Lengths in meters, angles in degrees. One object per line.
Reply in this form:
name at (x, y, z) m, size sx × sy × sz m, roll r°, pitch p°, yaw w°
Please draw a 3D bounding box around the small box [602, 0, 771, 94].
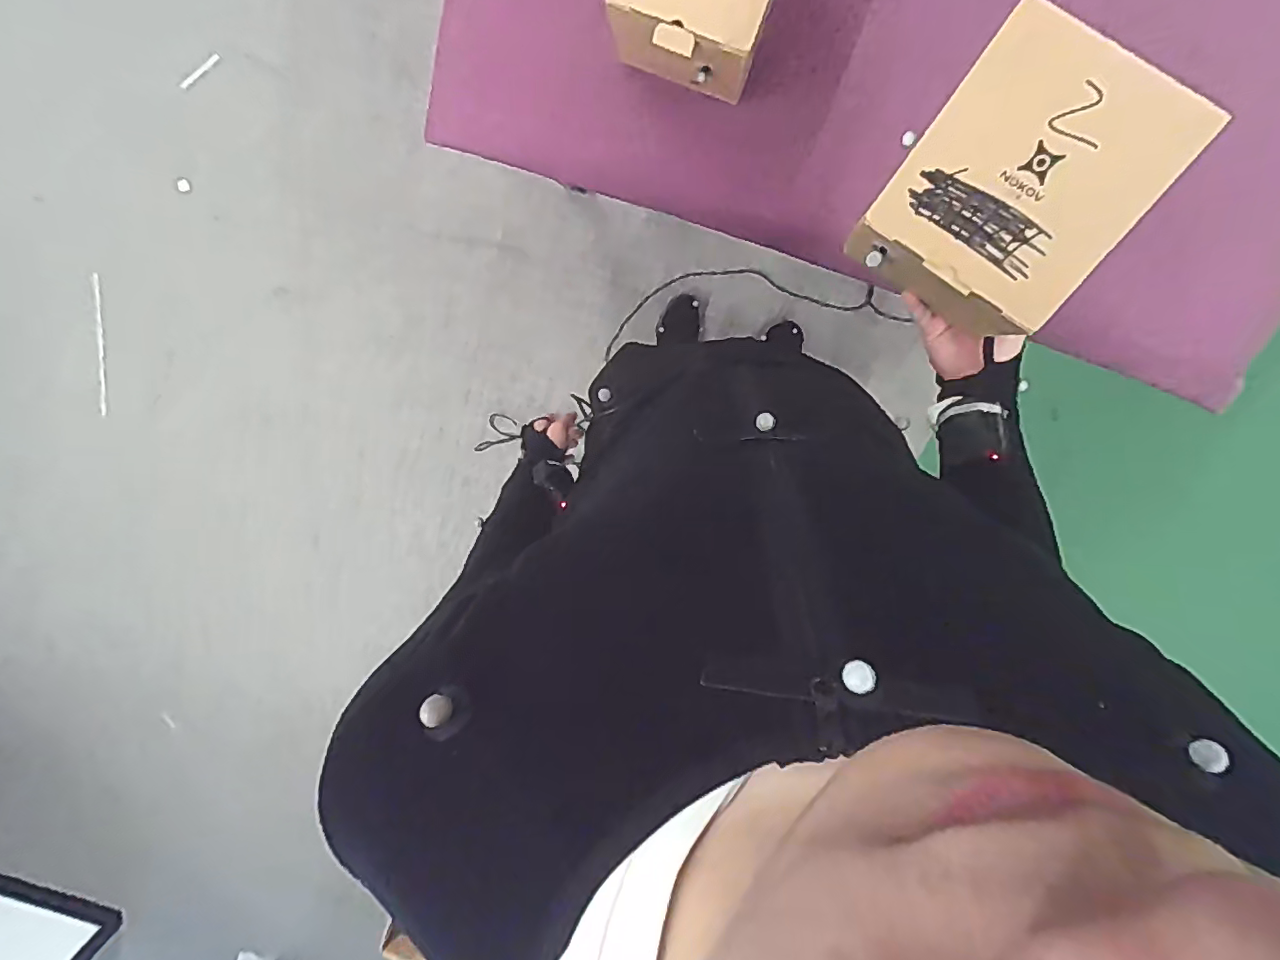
small box at (0.071, -0.580, 0.610) m, size 0.168 × 0.176 × 0.179 m, roll 21°, pitch 110°, yaw -2°
